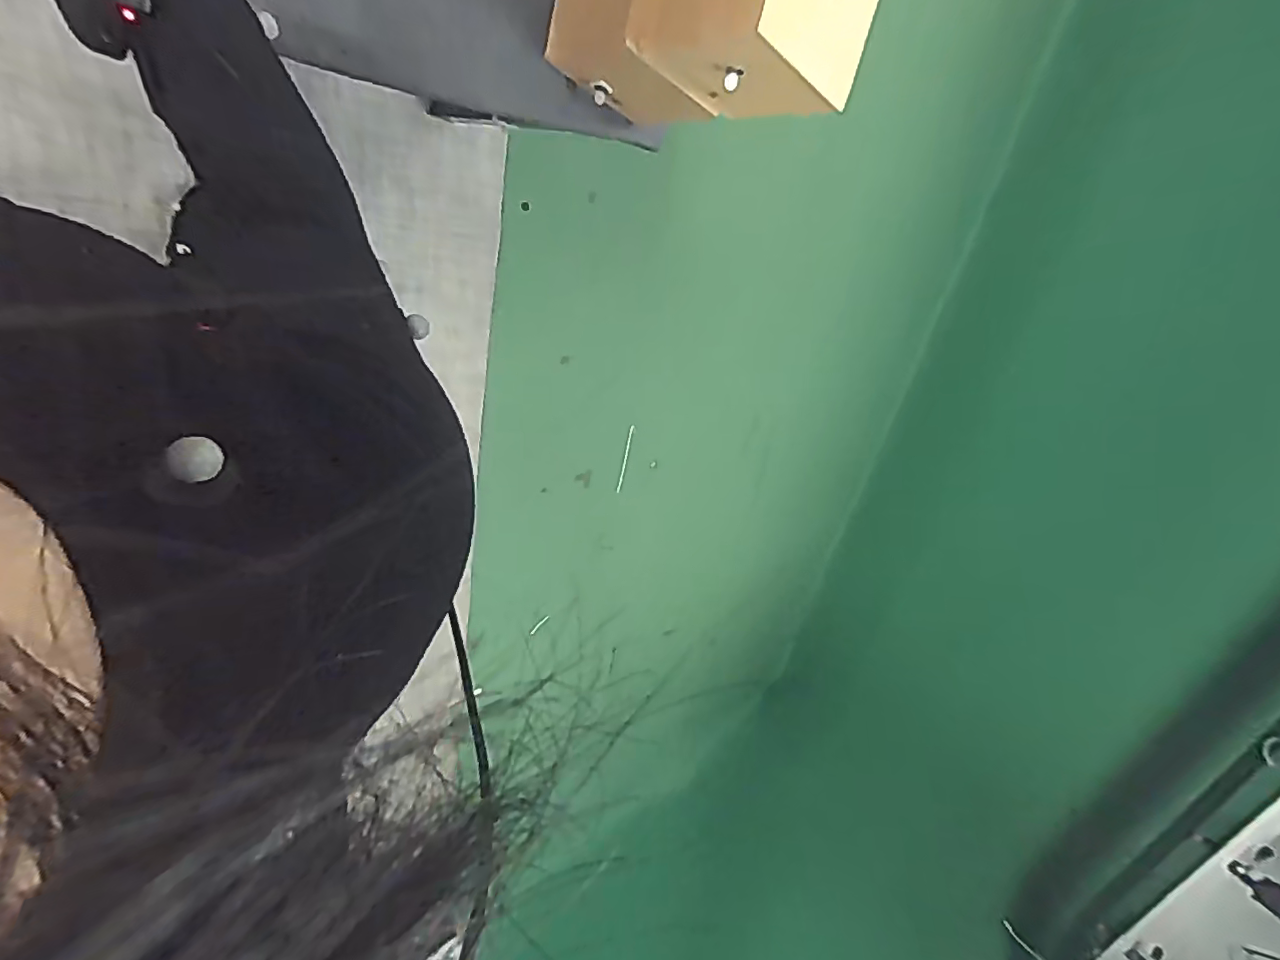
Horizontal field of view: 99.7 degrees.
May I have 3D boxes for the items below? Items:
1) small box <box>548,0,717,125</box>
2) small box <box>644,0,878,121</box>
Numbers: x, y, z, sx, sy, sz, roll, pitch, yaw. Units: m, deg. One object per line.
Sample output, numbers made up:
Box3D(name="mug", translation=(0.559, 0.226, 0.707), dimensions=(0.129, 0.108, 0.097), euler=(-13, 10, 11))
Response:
Box3D(name="small box", translation=(0.010, -0.564, 0.657), dimensions=(0.168, 0.176, 0.179), euler=(1, 113, -44))
Box3D(name="small box", translation=(0.125, -0.502, 0.561), dimensions=(0.168, 0.176, 0.179), euler=(-2, 113, -44))
